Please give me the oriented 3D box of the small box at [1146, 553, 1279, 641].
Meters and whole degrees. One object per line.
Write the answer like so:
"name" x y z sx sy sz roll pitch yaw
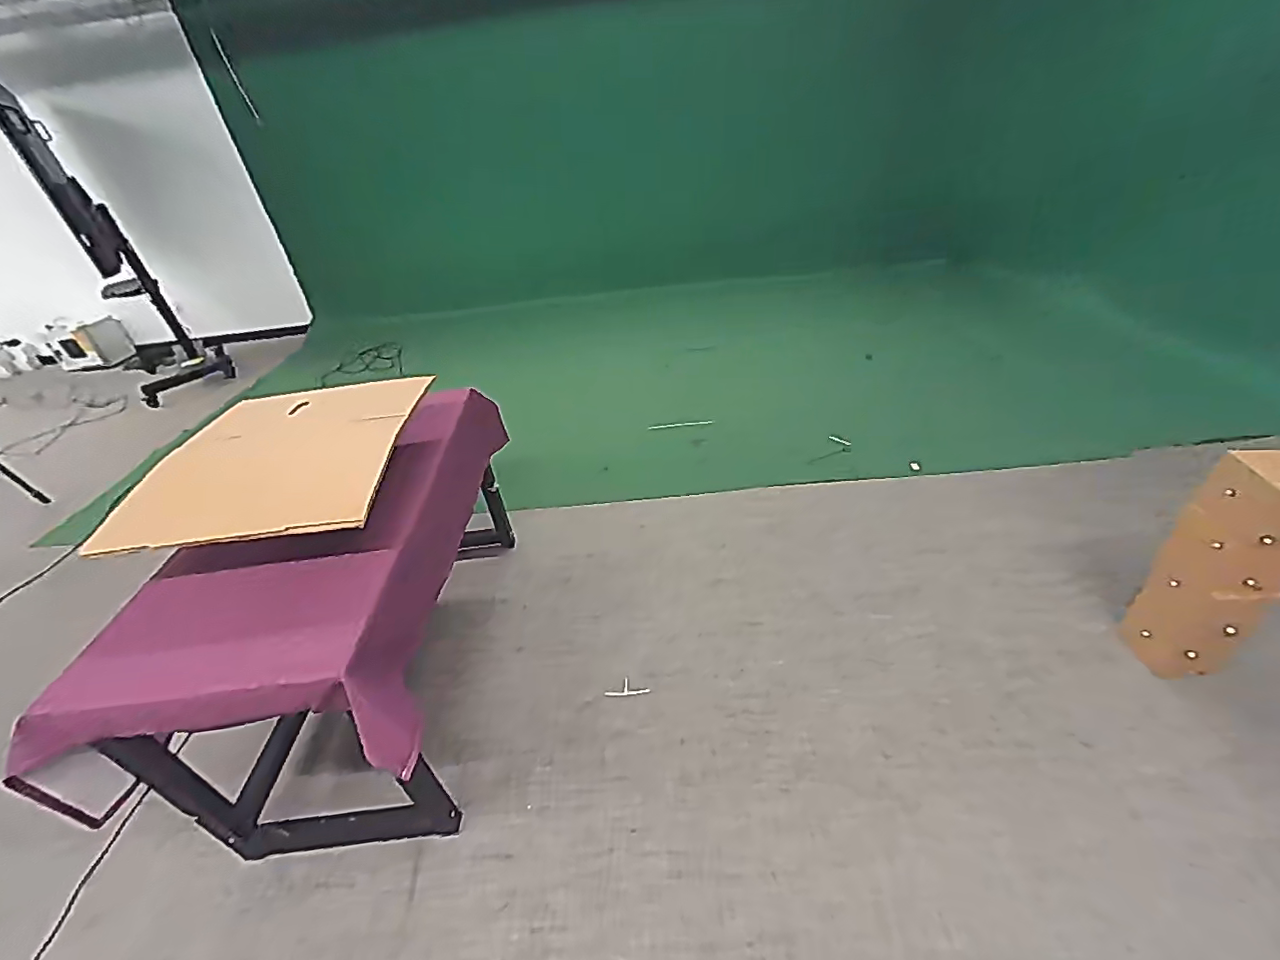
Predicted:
"small box" 1.552 0.315 1.474 0.168 0.176 0.179 -4 35 7

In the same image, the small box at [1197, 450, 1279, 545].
"small box" 1.517 0.044 1.295 0.168 0.176 0.179 0 34 11

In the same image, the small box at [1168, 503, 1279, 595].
"small box" 1.533 0.176 1.392 0.168 0.176 0.179 -2 36 9
